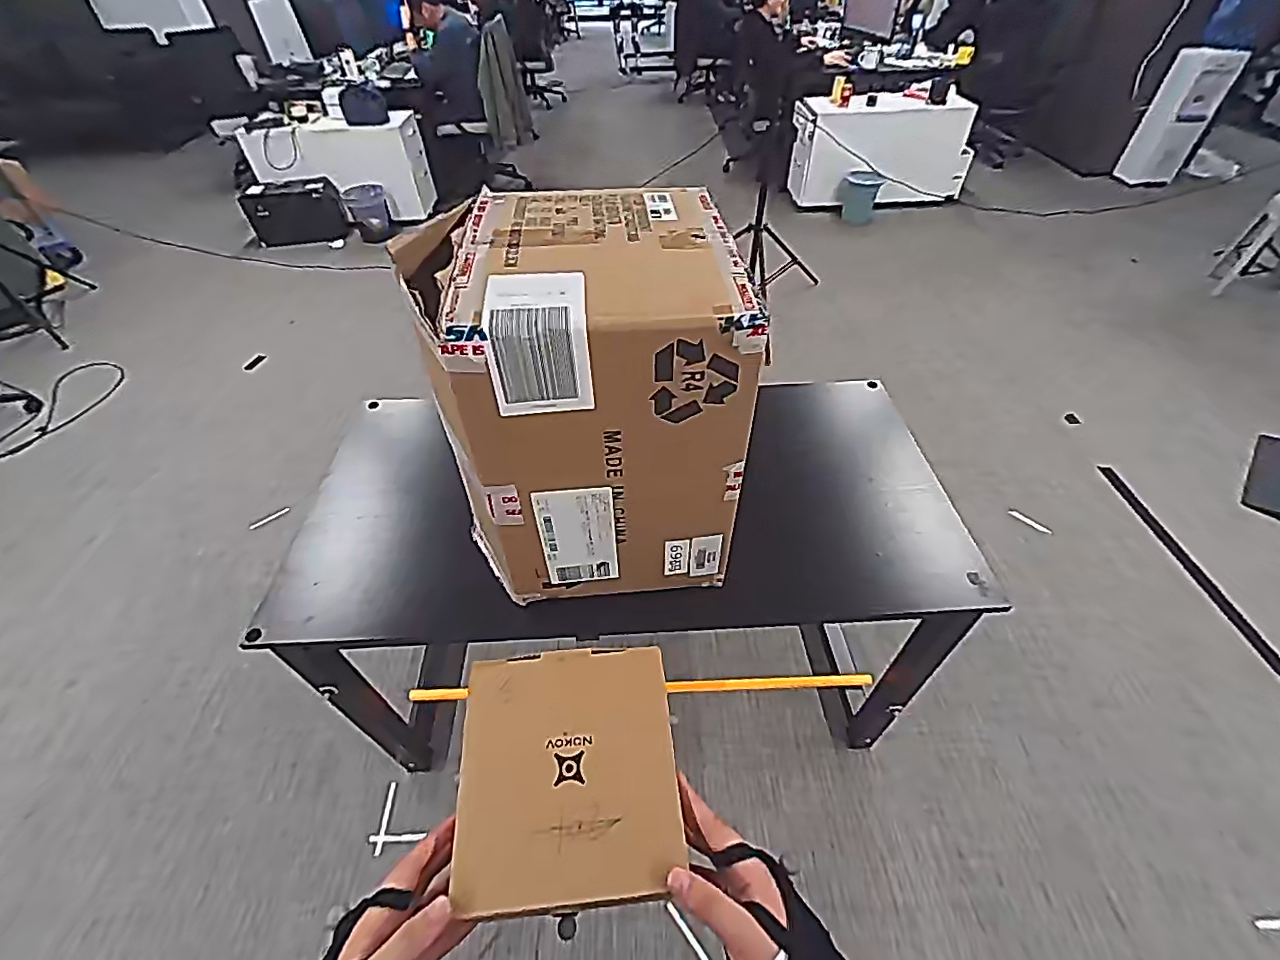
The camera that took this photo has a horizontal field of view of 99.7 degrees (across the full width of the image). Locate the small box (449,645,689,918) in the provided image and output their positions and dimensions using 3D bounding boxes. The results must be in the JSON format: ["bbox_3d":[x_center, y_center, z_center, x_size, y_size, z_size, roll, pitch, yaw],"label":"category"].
[{"bbox_3d":[-0.057,0.267,0.479,0.168,0.176,0.179,-3,51,-5],"label":"small box"}]
